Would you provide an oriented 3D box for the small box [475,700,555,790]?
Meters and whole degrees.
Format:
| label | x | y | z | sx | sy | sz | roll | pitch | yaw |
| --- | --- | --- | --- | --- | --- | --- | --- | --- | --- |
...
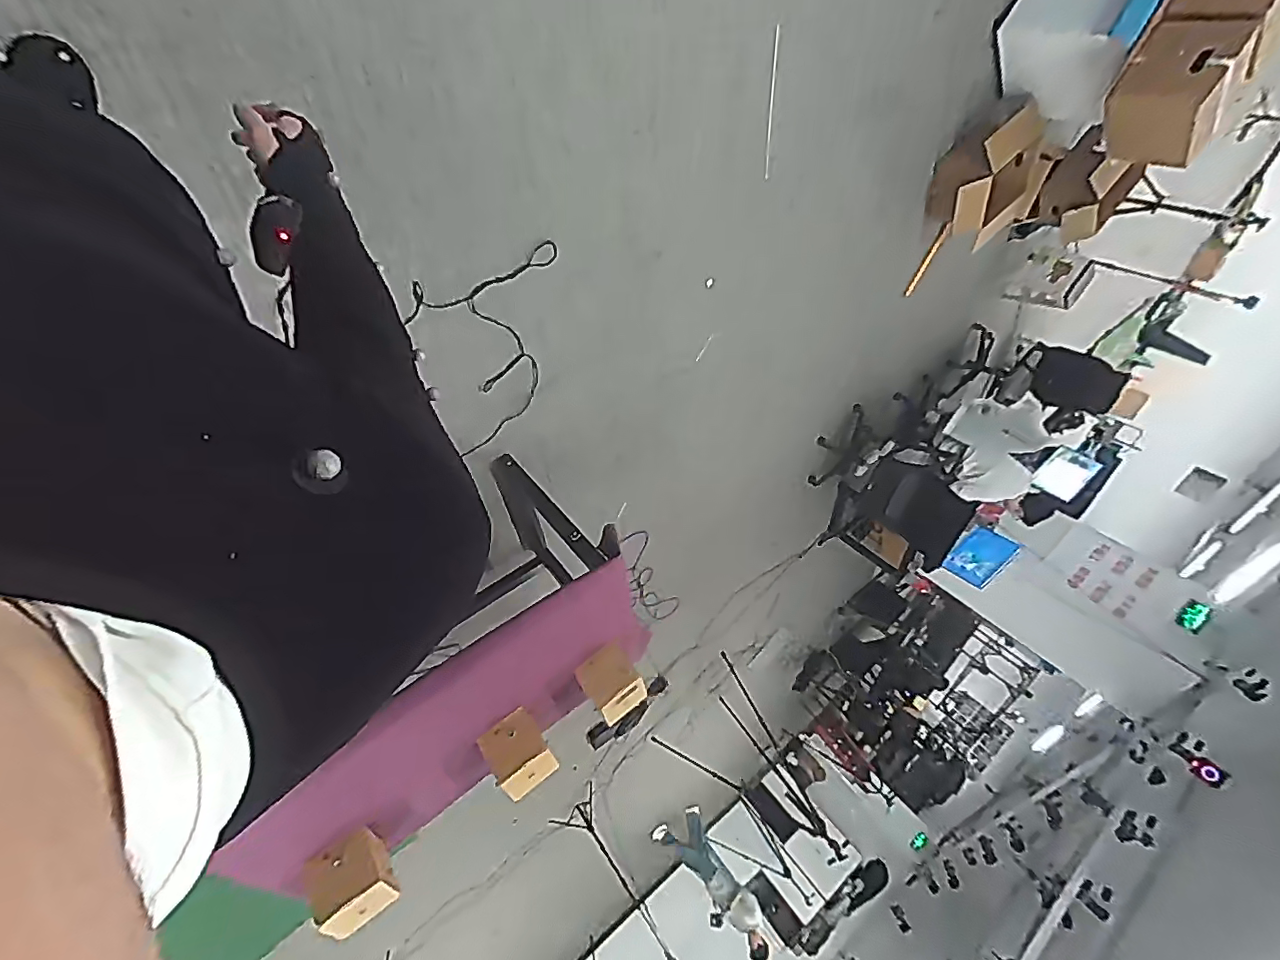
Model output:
| label | x | y | z | sx | sy | sz | roll | pitch | yaw |
| --- | --- | --- | --- | --- | --- | --- | --- | --- | --- |
| small box | -0.393 | 0.829 | 1.702 | 0.168 | 0.176 | 0.179 | -31 | 140 | -21 |

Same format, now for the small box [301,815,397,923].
| label | x | y | z | sx | sy | sz | roll | pitch | yaw |
| --- | --- | --- | --- | --- | --- | --- | --- | --- | --- |
| small box | -0.807 | 1.074 | 1.502 | 0.168 | 0.176 | 0.179 | -28 | 139 | -26 |
